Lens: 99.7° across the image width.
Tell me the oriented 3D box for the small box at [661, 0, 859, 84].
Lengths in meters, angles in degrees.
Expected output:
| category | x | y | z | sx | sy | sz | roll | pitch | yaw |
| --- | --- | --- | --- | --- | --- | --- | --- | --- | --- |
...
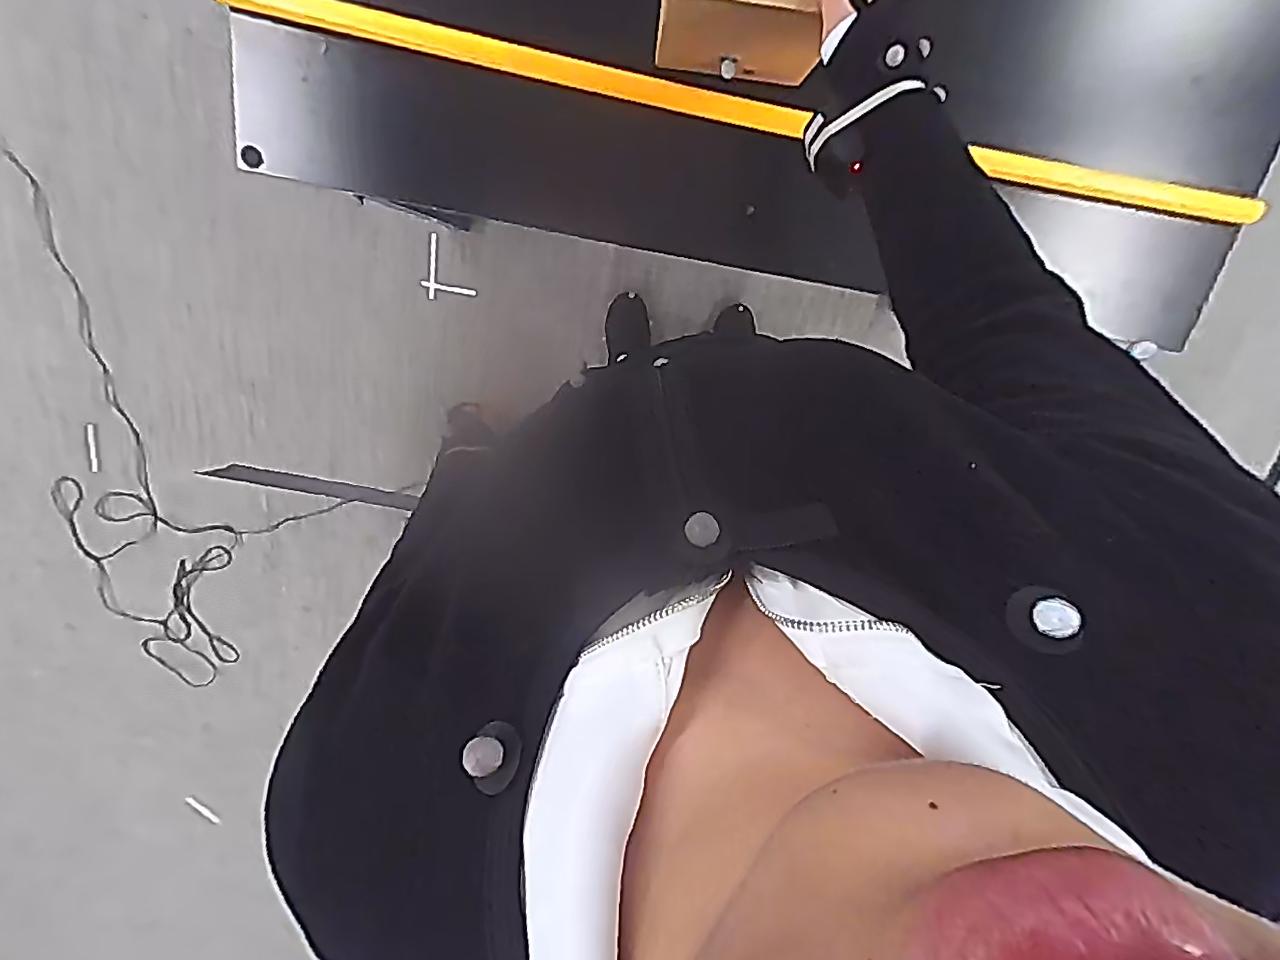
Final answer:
| category | x | y | z | sx | sy | sz | roll | pitch | yaw |
| --- | --- | --- | --- | --- | --- | --- | --- | --- | --- |
| small box | 0.113 | -0.514 | 0.507 | 0.168 | 0.176 | 0.179 | 6 | 109 | -3 |
